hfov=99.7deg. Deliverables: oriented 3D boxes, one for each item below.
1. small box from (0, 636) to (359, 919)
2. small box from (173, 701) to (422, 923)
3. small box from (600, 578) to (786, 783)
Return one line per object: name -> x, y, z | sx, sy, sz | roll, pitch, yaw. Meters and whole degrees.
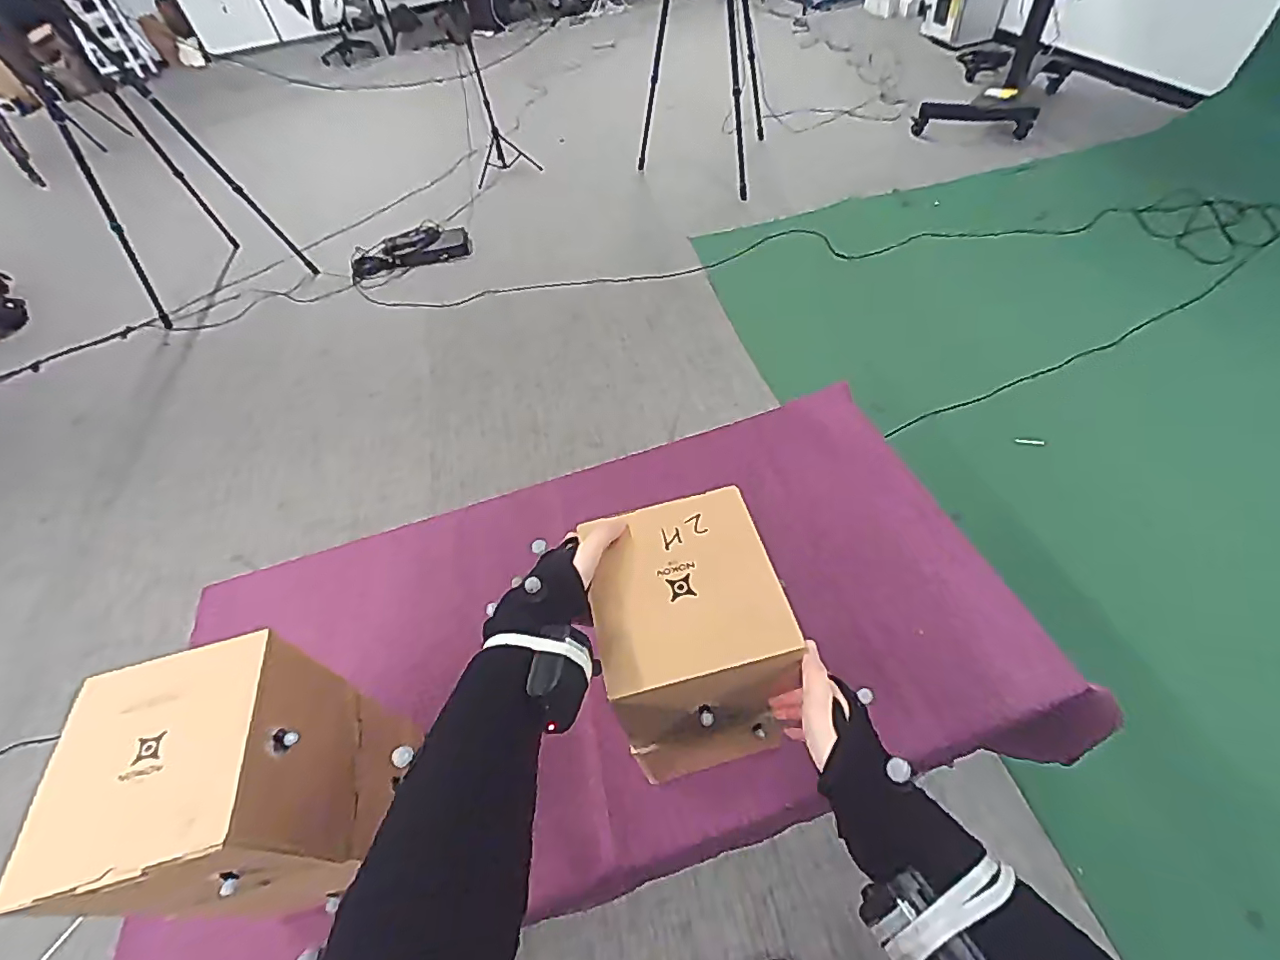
small box -> -0.388, 0.277, 0.503 | 0.168, 0.176, 0.179 | -15, 50, -3
small box -> -0.368, 0.383, 0.626 | 0.179, 0.176, 0.168 | -16, 50, -4
small box -> 0.063, 0.251, 0.665 | 0.179, 0.176, 0.168 | -15, 51, -4
